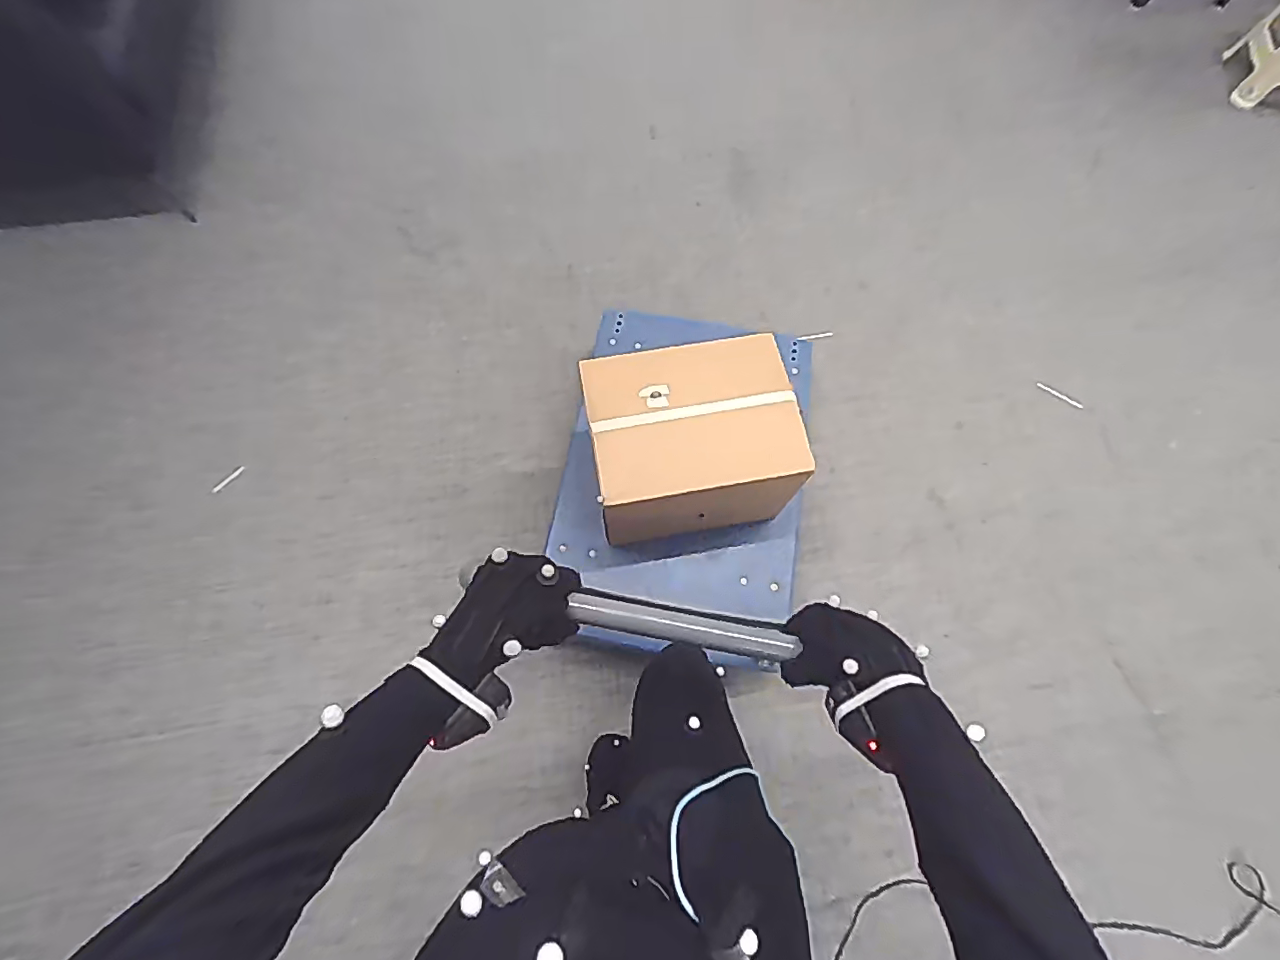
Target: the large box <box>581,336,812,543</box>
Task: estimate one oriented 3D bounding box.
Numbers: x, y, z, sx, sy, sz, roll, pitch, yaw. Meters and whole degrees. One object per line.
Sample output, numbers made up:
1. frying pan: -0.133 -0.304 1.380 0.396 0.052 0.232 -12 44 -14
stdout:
1. large box: 0.105 -0.073 1.196 0.408 0.320 0.320 -10 69 -4
